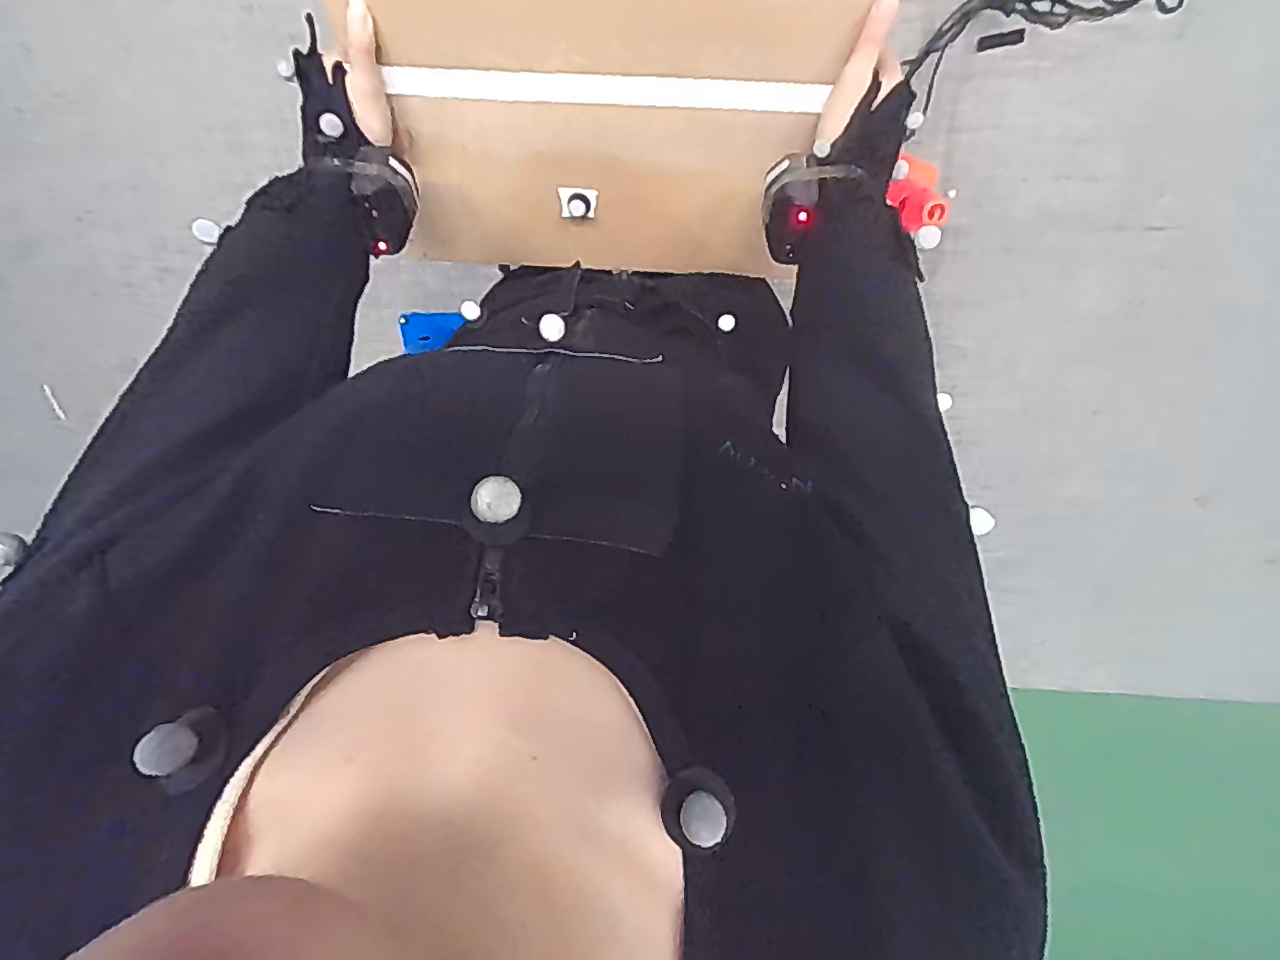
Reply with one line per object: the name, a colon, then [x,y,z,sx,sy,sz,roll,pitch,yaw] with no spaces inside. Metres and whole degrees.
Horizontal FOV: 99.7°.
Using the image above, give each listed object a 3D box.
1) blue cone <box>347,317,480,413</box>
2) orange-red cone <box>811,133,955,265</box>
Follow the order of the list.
blue cone: [-0.511,-0.229,1.191,0.192,0.380,0.193,3,118,5]
orange-red cone: [0.454,-0.473,0.932,0.199,0.360,0.198,20,119,-6]
